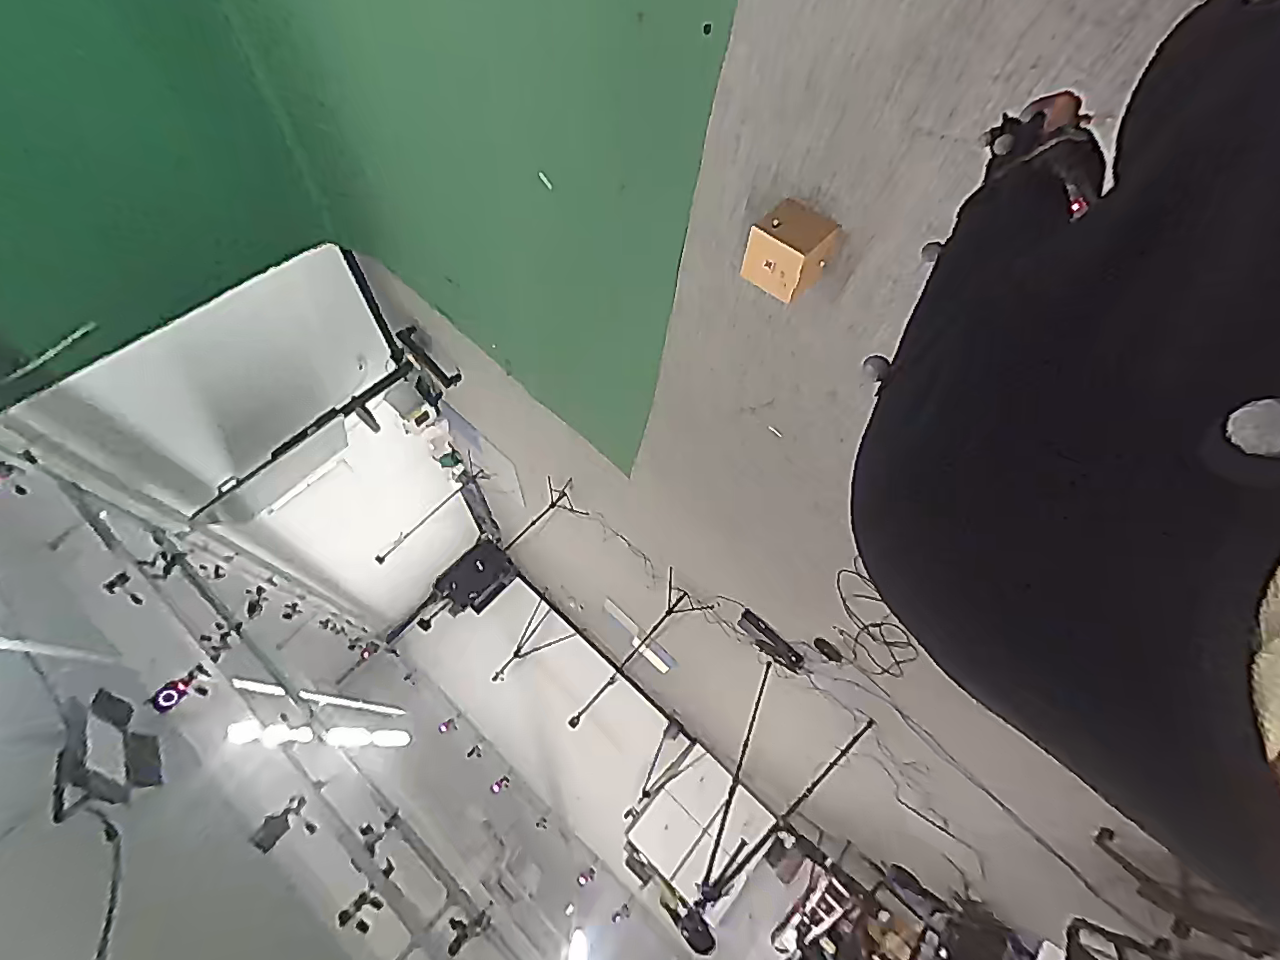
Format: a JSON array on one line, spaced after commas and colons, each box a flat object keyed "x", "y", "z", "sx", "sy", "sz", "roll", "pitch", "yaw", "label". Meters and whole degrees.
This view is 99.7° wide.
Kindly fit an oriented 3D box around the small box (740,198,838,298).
[{"x": 0.411, "y": -0.651, "z": 1.504, "sx": 0.179, "sy": 0.176, "sz": 0.168, "roll": 38, "pitch": 157, "yaw": 17, "label": "small box"}]
